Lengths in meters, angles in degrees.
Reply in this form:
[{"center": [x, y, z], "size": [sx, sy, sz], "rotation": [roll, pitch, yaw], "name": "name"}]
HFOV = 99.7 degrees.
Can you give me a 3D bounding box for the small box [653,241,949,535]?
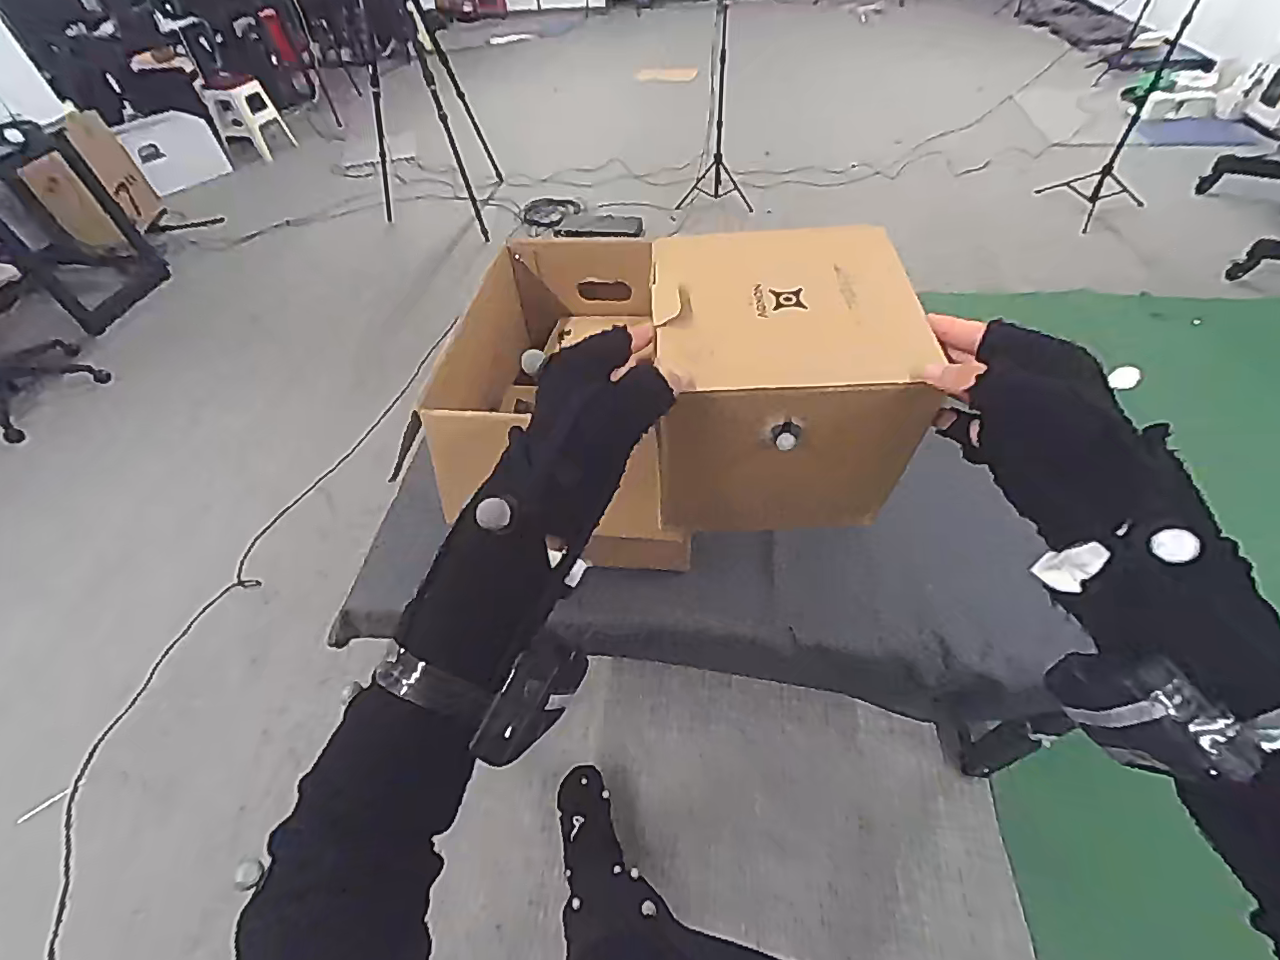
[{"center": [0.102, -0.066, 0.433], "size": [0.179, 0.176, 0.168], "rotation": [-1, 54, 2], "name": "small box"}]
